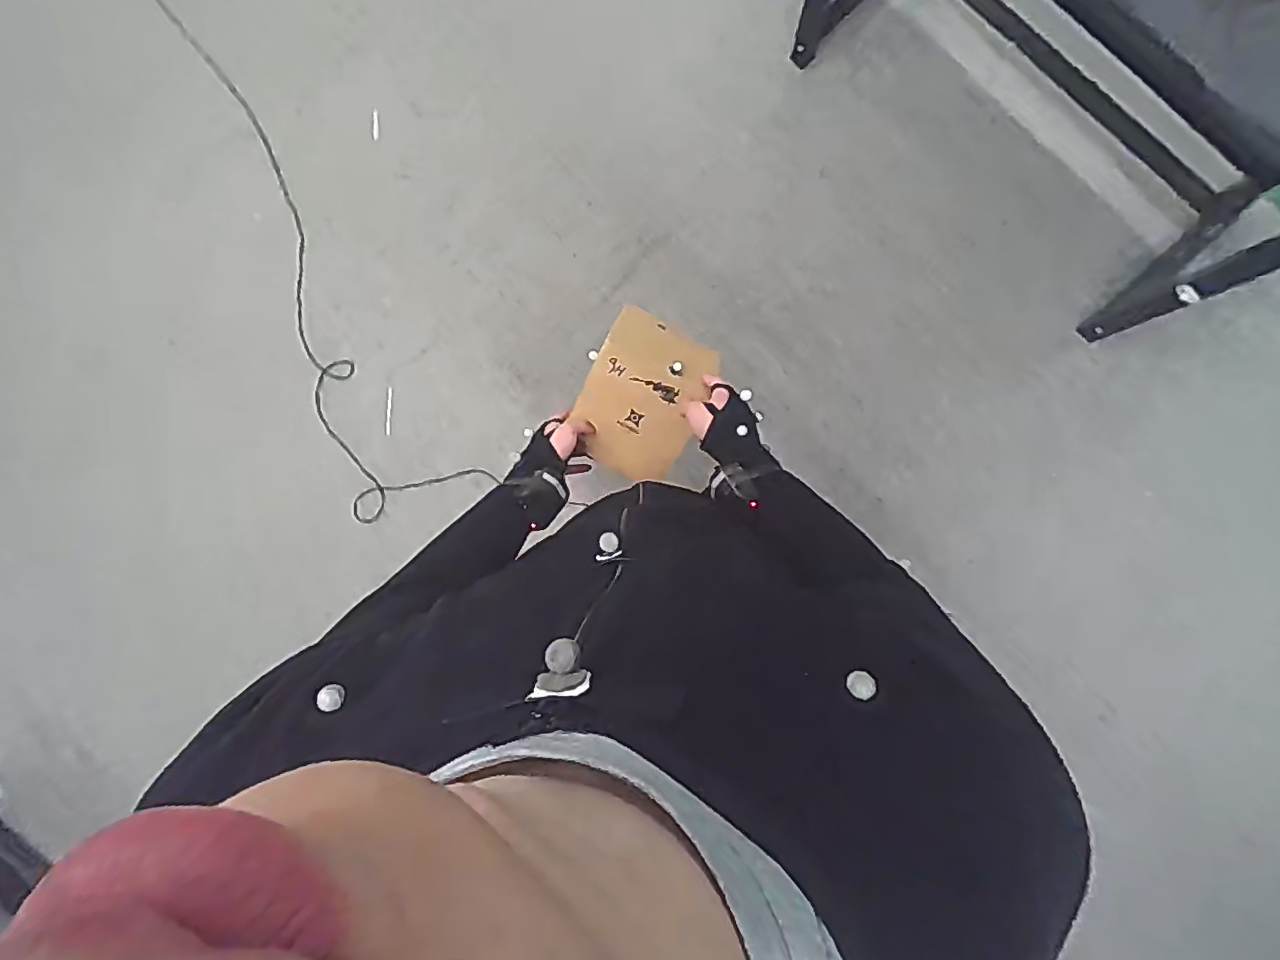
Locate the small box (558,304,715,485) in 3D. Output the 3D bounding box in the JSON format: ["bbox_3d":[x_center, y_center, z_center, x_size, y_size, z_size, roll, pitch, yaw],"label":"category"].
[{"bbox_3d":[0.003,-0.133,0.817,0.168,0.176,0.179,28,125,-8],"label":"small box"}]
